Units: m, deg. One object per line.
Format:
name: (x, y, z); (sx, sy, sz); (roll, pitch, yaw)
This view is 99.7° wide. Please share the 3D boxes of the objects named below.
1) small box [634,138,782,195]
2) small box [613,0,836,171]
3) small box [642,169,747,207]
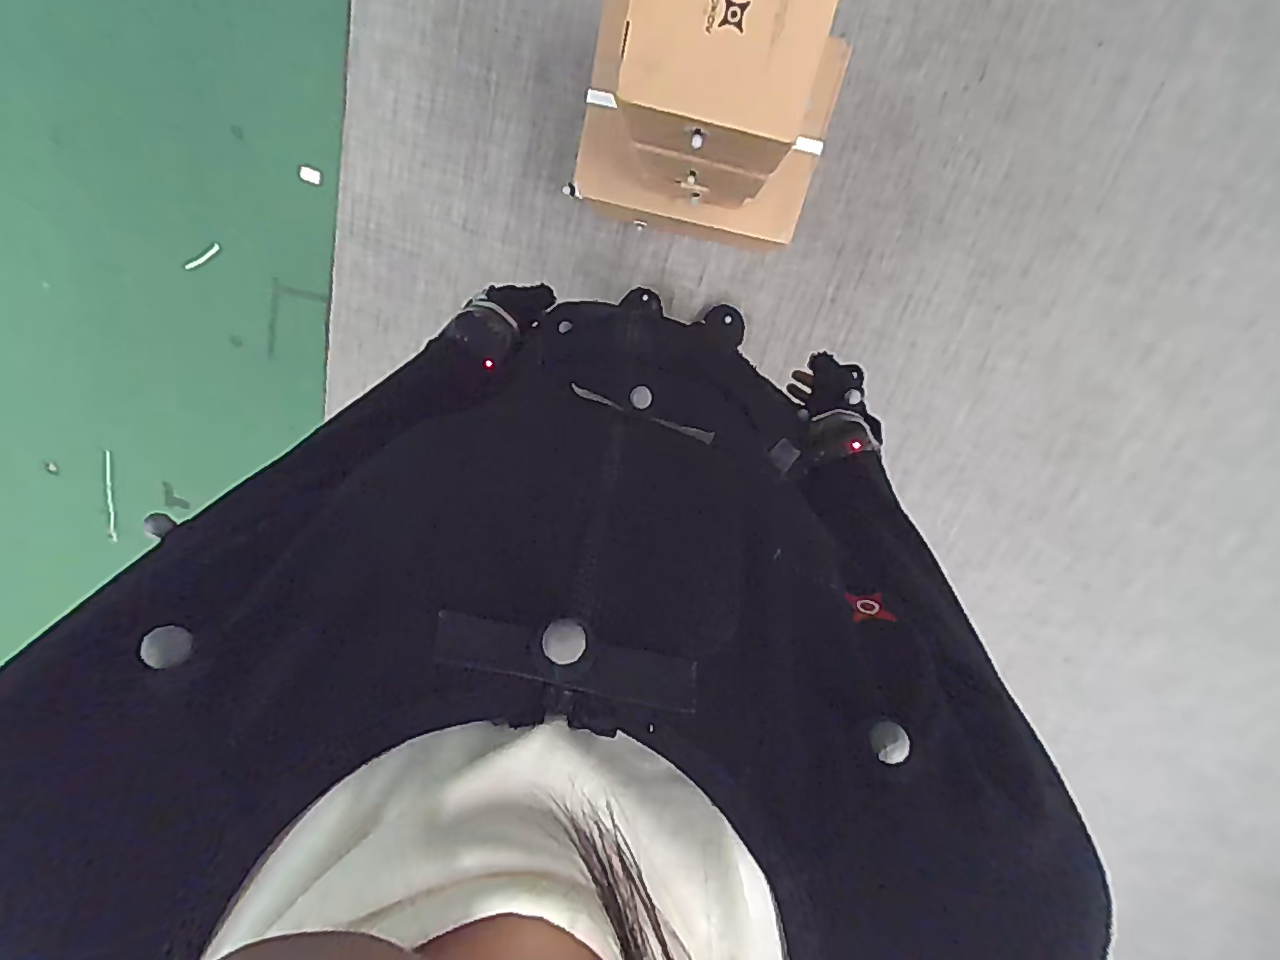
small box: (0.098, -0.479, 0.697); (0.179, 0.176, 0.168); (11, 111, 1)
small box: (0.084, -0.430, 0.544); (0.179, 0.176, 0.168); (14, 112, 0)
small box: (0.108, -0.543, 0.849); (0.168, 0.176, 0.179); (12, 111, 2)
